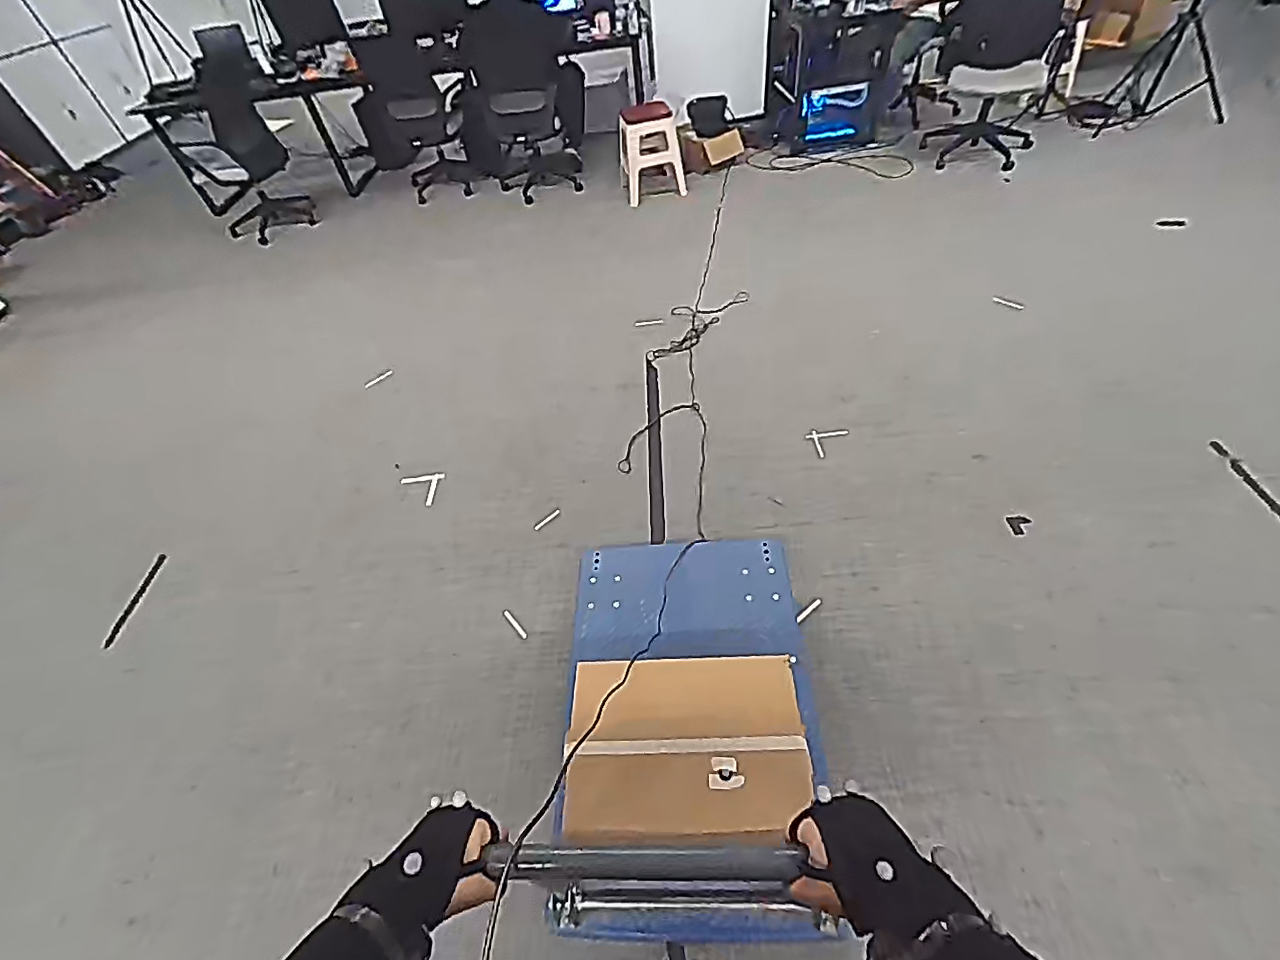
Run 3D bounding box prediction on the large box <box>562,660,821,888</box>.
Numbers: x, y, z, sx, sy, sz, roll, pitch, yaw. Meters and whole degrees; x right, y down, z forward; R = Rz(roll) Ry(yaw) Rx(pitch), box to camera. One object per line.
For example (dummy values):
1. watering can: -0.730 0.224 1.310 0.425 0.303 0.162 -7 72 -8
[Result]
1. large box: 0.088 0.561 1.025 0.408 0.320 0.320 -4 48 5
